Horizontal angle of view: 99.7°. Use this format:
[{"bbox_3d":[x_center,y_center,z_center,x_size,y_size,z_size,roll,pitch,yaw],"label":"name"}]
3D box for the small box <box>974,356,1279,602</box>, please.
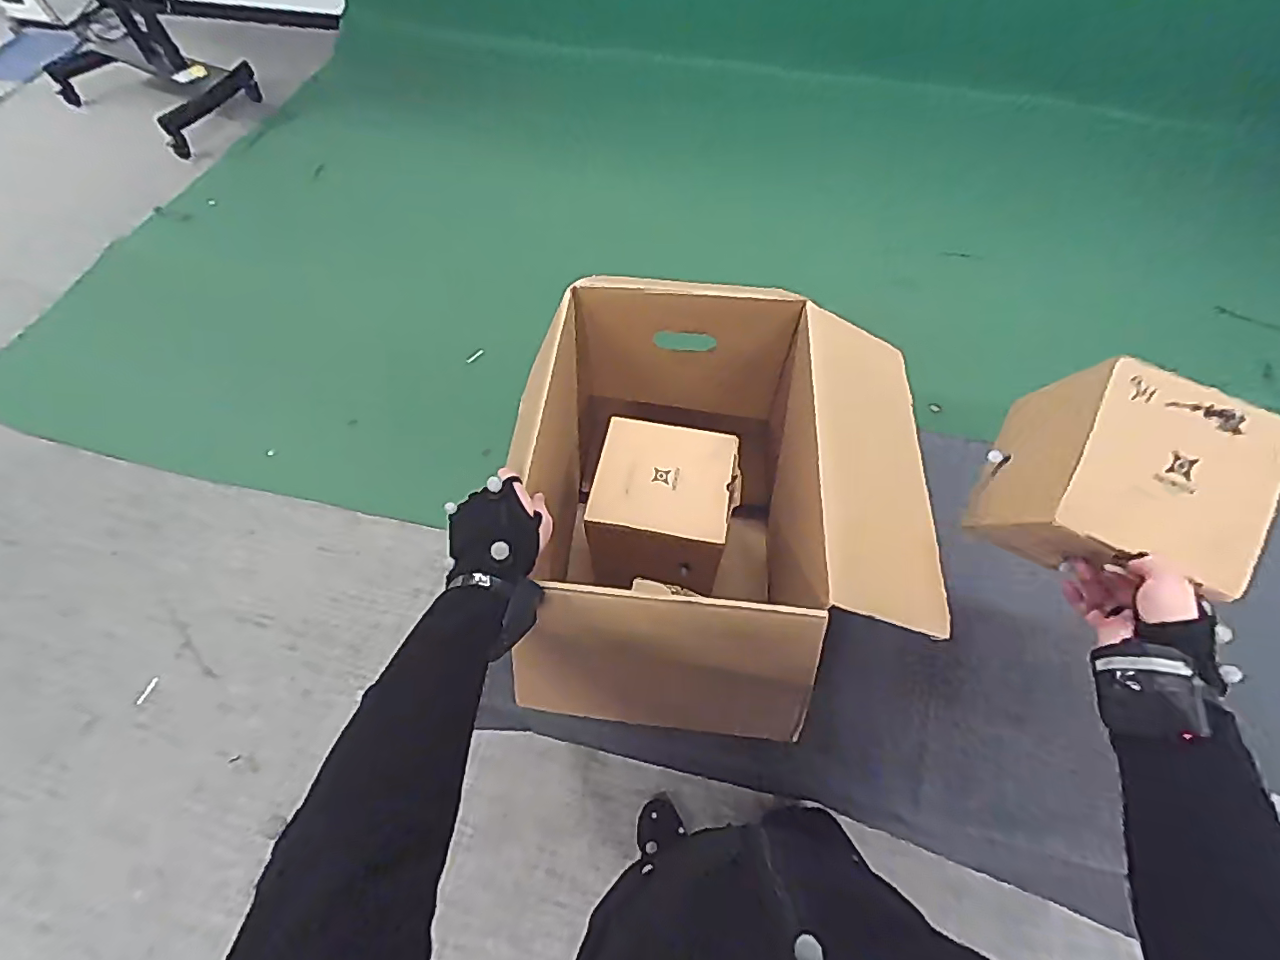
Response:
[{"bbox_3d":[0.491,0.005,0.564,0.168,0.176,0.179,26,86,7],"label":"small box"}]
